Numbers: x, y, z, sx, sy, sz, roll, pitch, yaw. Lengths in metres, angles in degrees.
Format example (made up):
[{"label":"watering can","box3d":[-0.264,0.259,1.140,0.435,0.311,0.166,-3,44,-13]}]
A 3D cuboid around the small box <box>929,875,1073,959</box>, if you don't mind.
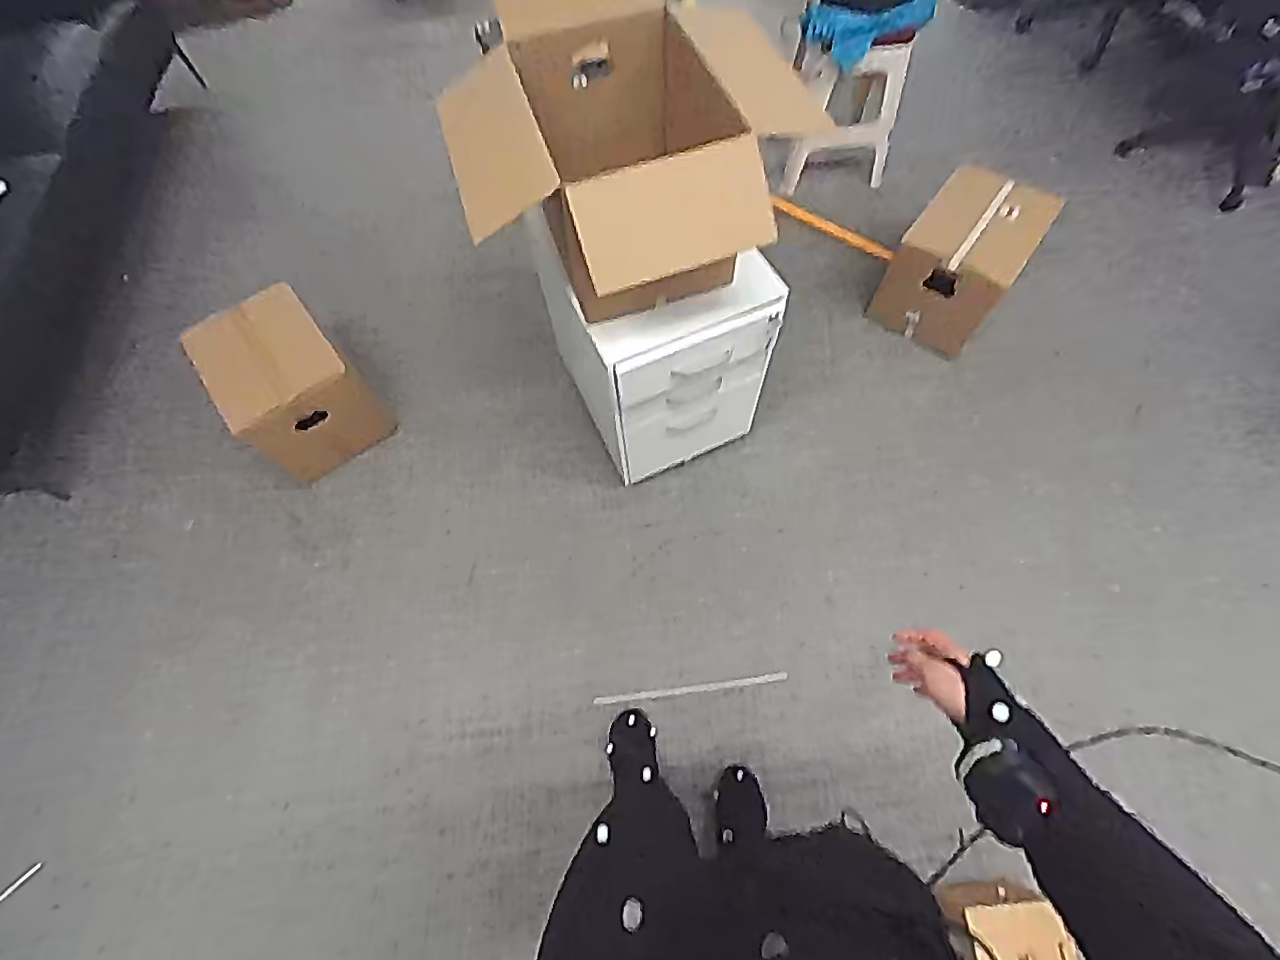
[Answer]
[{"label":"small box","box3d":[0.684,0.881,1.037,0.179,0.176,0.168,-5,65,-1]}]
